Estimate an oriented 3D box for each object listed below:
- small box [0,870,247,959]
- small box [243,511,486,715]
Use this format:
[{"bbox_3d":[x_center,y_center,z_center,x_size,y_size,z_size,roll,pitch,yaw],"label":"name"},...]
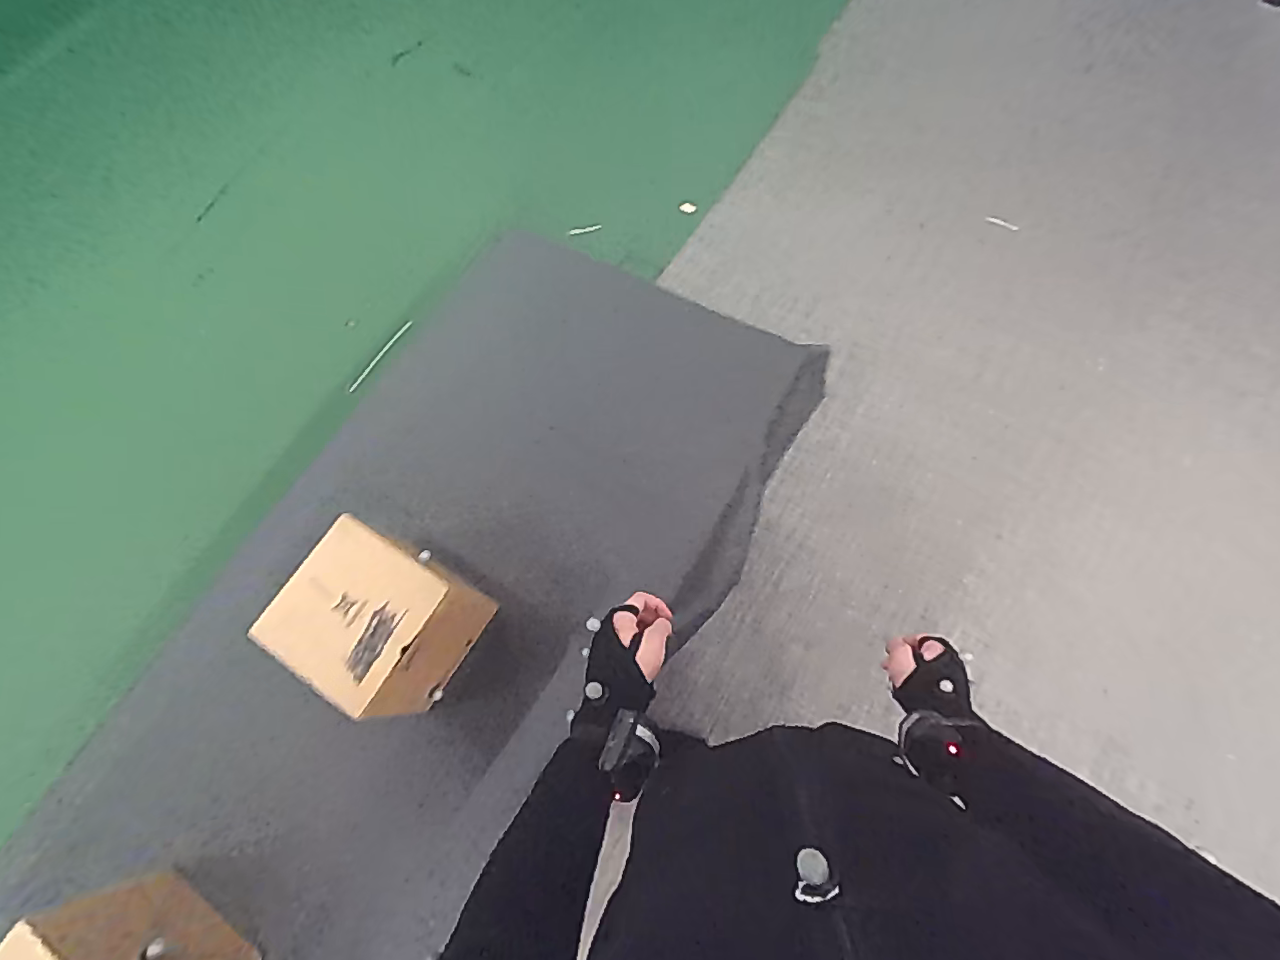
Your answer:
[{"bbox_3d":[-0.572,0.554,0.562,0.179,0.176,0.168,28,73,12],"label":"small box"},{"bbox_3d":[-0.326,0.167,0.681,0.179,0.176,0.168,29,75,14],"label":"small box"}]
